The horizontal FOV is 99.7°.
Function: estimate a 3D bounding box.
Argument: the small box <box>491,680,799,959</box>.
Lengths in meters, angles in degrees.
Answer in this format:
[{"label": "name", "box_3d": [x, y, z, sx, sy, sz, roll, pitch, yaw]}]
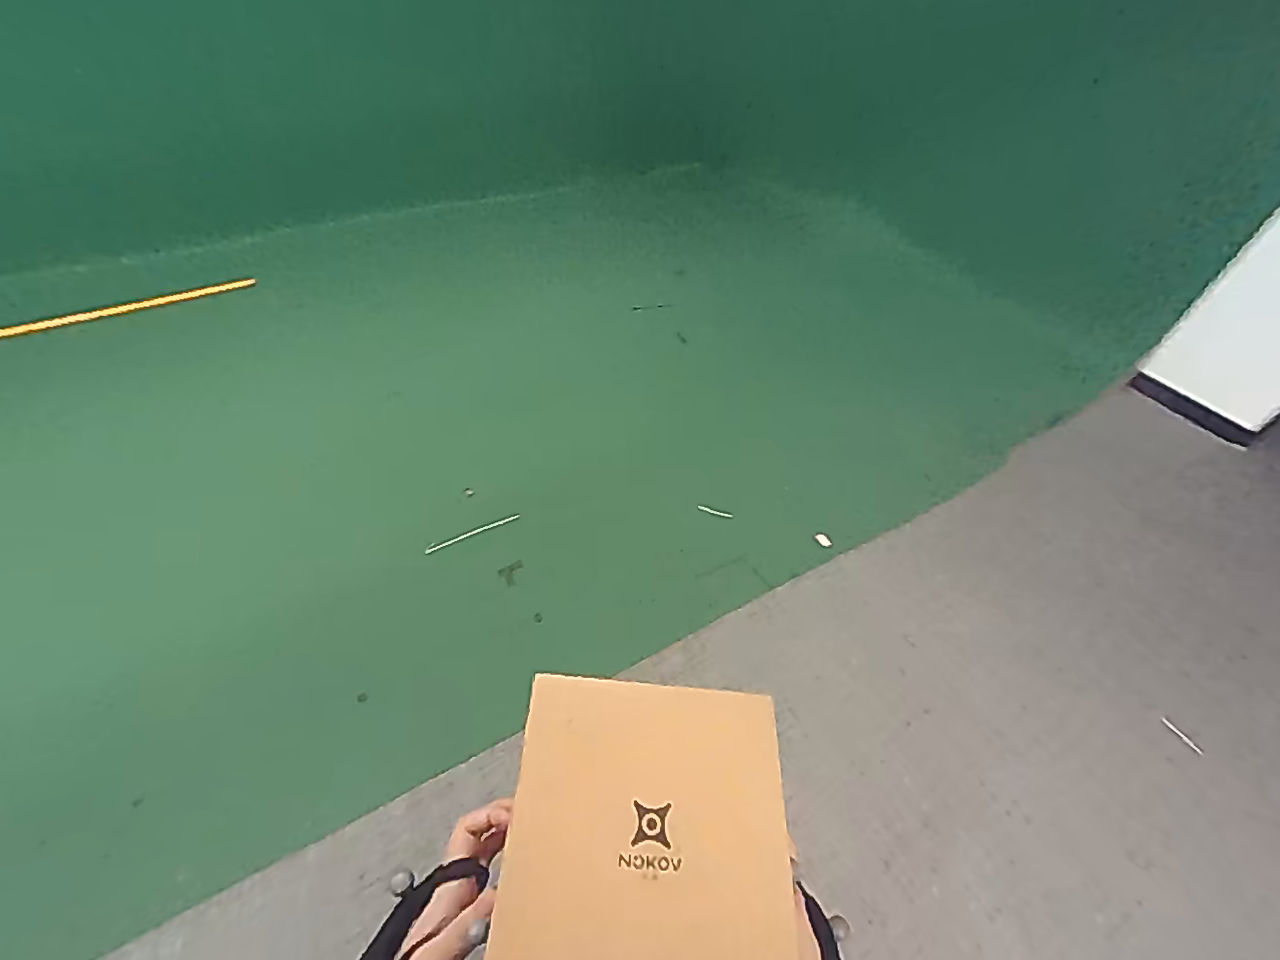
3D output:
[{"label": "small box", "box_3d": [-0.005, 0.262, 0.378, 0.168, 0.176, 0.179, 6, 49, -5]}]
